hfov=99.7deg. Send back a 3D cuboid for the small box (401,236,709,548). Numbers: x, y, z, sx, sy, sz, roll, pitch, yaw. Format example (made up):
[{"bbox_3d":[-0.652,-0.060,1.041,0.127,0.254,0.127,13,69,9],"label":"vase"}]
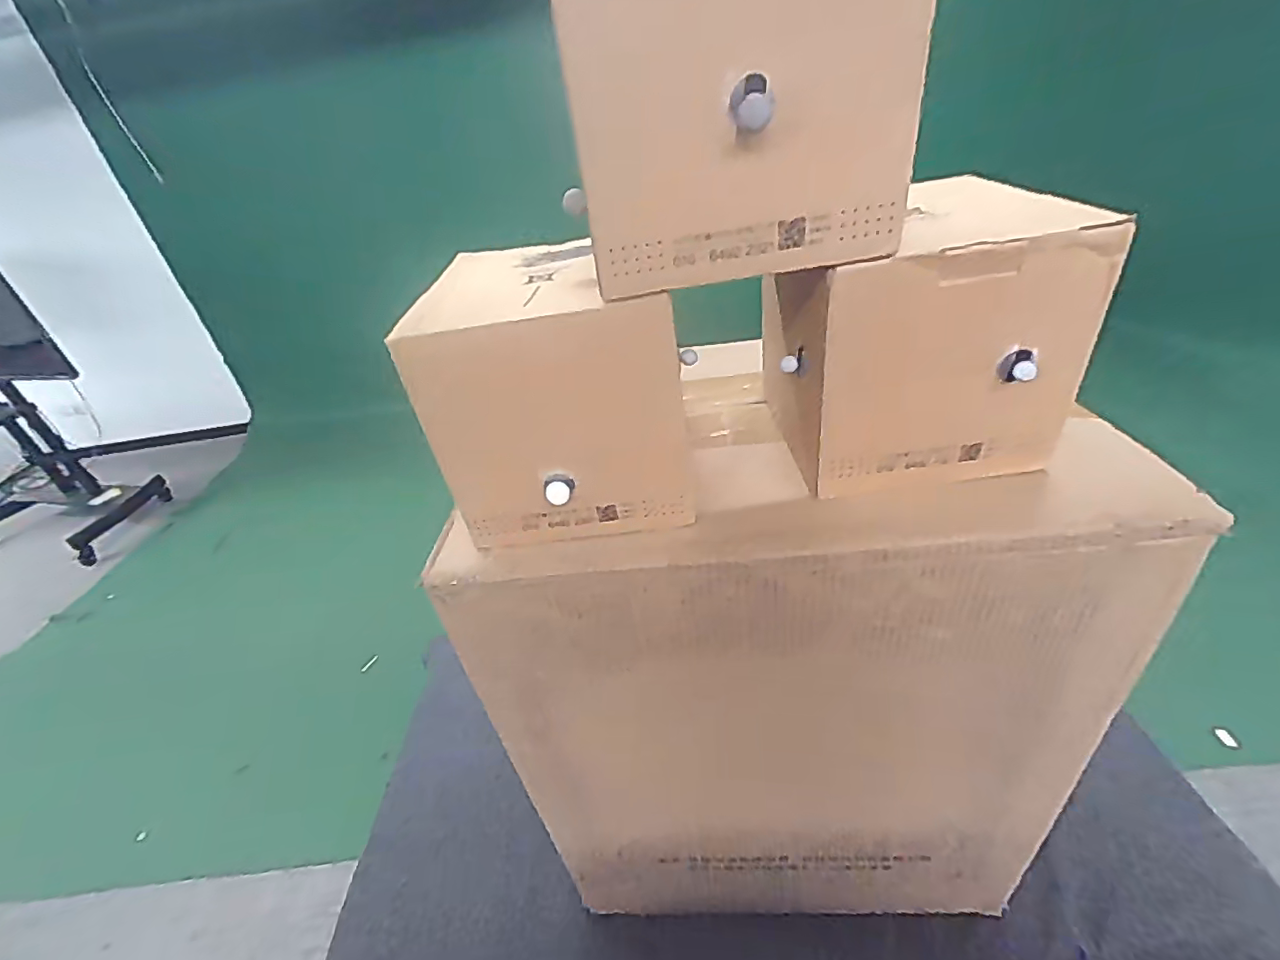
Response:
[{"bbox_3d":[-0.039,-0.071,0.402,0.168,0.176,0.179,-5,37,7],"label":"small box"}]

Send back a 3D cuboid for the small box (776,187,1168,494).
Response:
[{"bbox_3d":[0.205,-0.101,0.401,0.168,0.176,0.179,-7,36,0],"label":"small box"}]
